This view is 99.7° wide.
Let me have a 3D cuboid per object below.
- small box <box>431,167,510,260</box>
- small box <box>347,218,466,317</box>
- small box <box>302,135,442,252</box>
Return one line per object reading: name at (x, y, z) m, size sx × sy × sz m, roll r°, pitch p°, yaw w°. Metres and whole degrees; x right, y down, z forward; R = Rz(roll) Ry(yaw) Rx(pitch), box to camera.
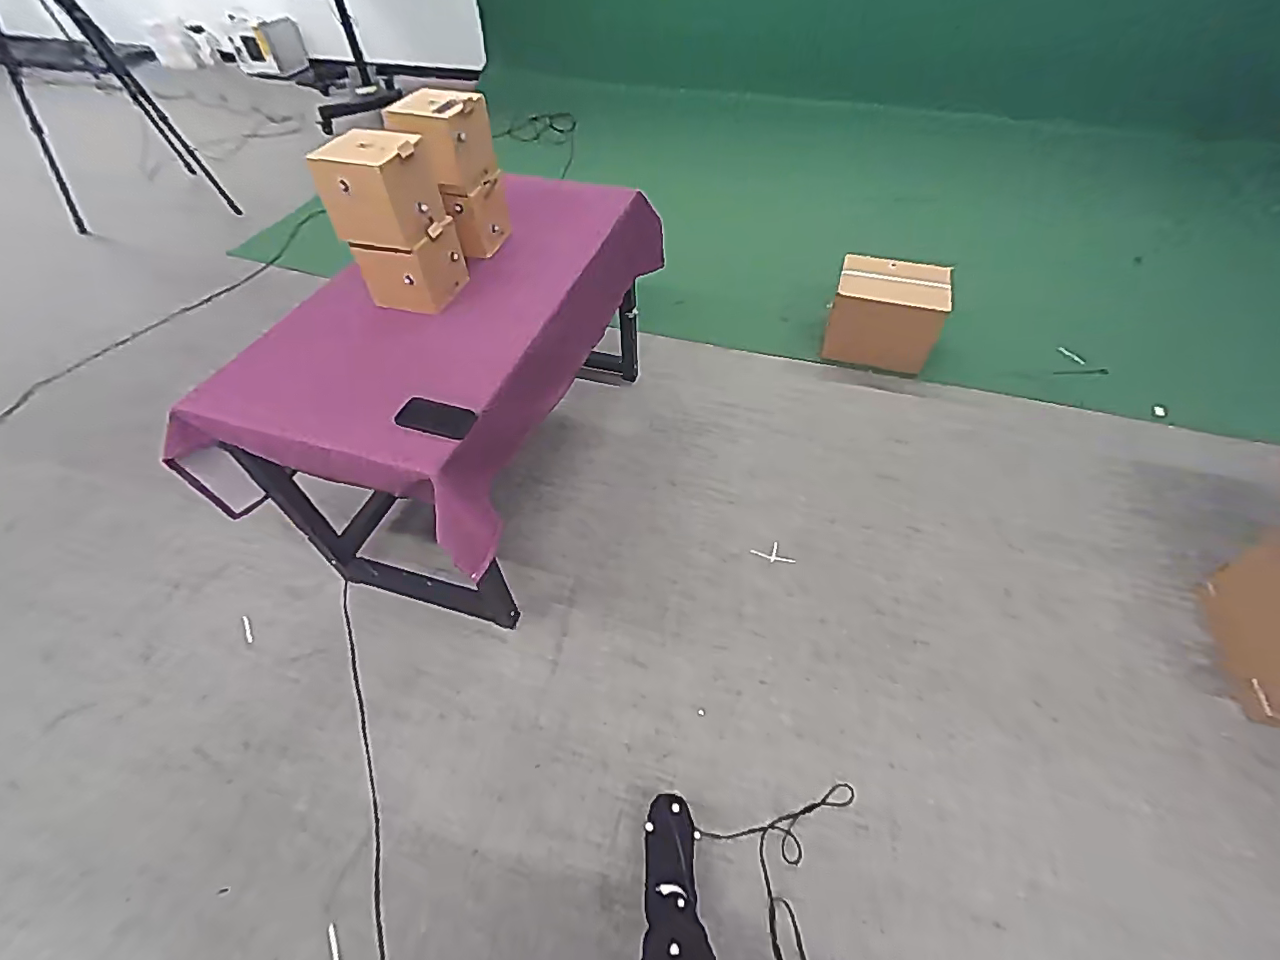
small box at (-0.471, -0.708, 1.440) m, size 0.179 × 0.176 × 0.168 m, roll 13°, pitch 52°, yaw 11°
small box at (-0.538, -0.508, 1.279) m, size 0.179 × 0.176 × 0.168 m, roll 12°, pitch 51°, yaw 12°
small box at (-0.555, -0.606, 1.147) m, size 0.179 × 0.176 × 0.168 m, roll 12°, pitch 52°, yaw 11°
